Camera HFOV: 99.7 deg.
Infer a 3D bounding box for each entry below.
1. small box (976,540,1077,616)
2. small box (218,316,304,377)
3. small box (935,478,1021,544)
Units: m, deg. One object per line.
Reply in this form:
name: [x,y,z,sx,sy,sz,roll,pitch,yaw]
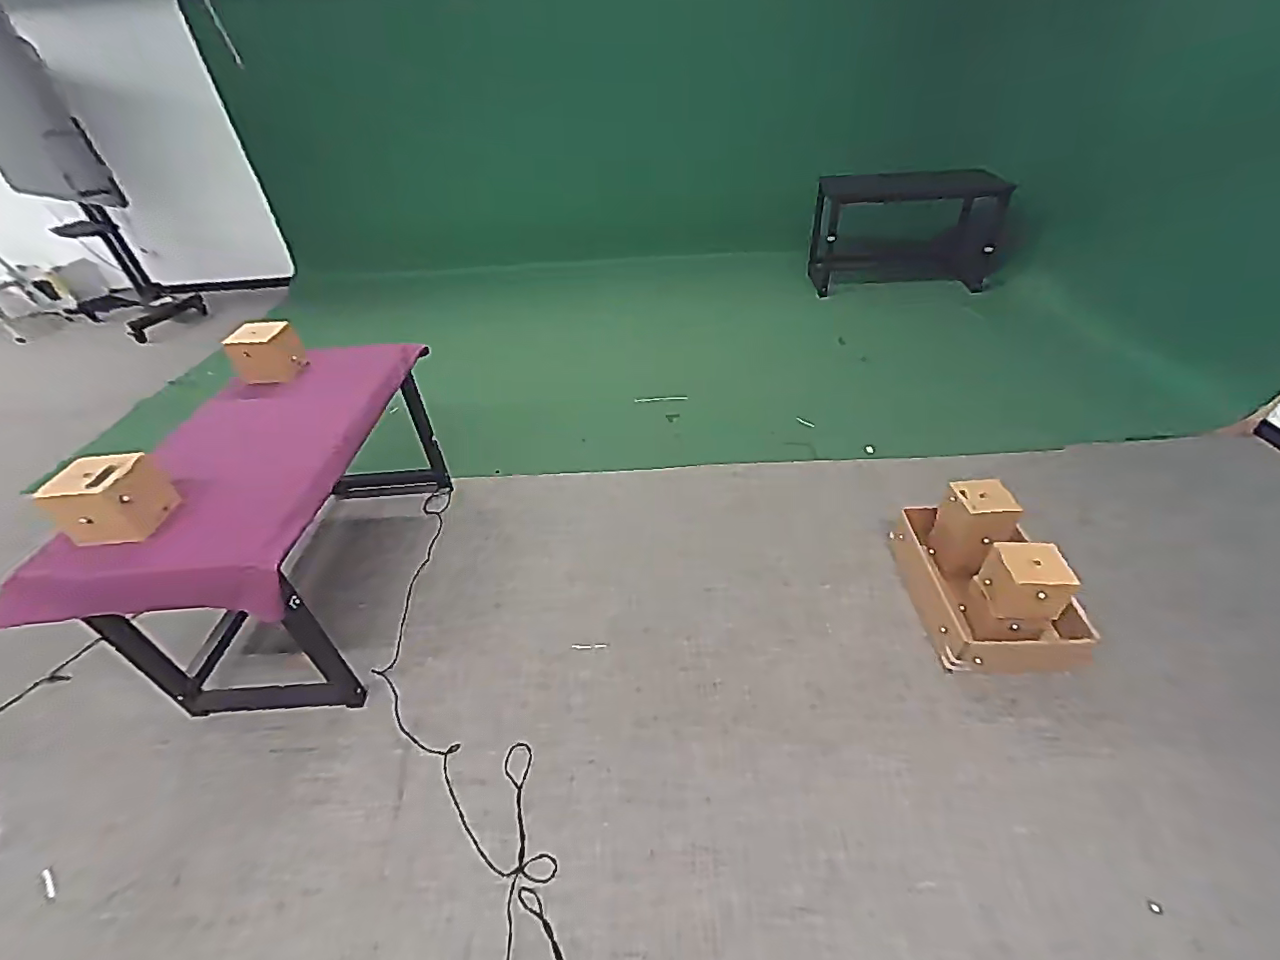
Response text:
small box: [1.178,0.303,1.665,0.179,0.176,0.168,0,40,7]
small box: [-1.415,-0.498,2.031,0.179,0.176,0.168,-1,42,2]
small box: [1.174,0.110,1.895,0.179,0.176,0.168,-3,39,1]
